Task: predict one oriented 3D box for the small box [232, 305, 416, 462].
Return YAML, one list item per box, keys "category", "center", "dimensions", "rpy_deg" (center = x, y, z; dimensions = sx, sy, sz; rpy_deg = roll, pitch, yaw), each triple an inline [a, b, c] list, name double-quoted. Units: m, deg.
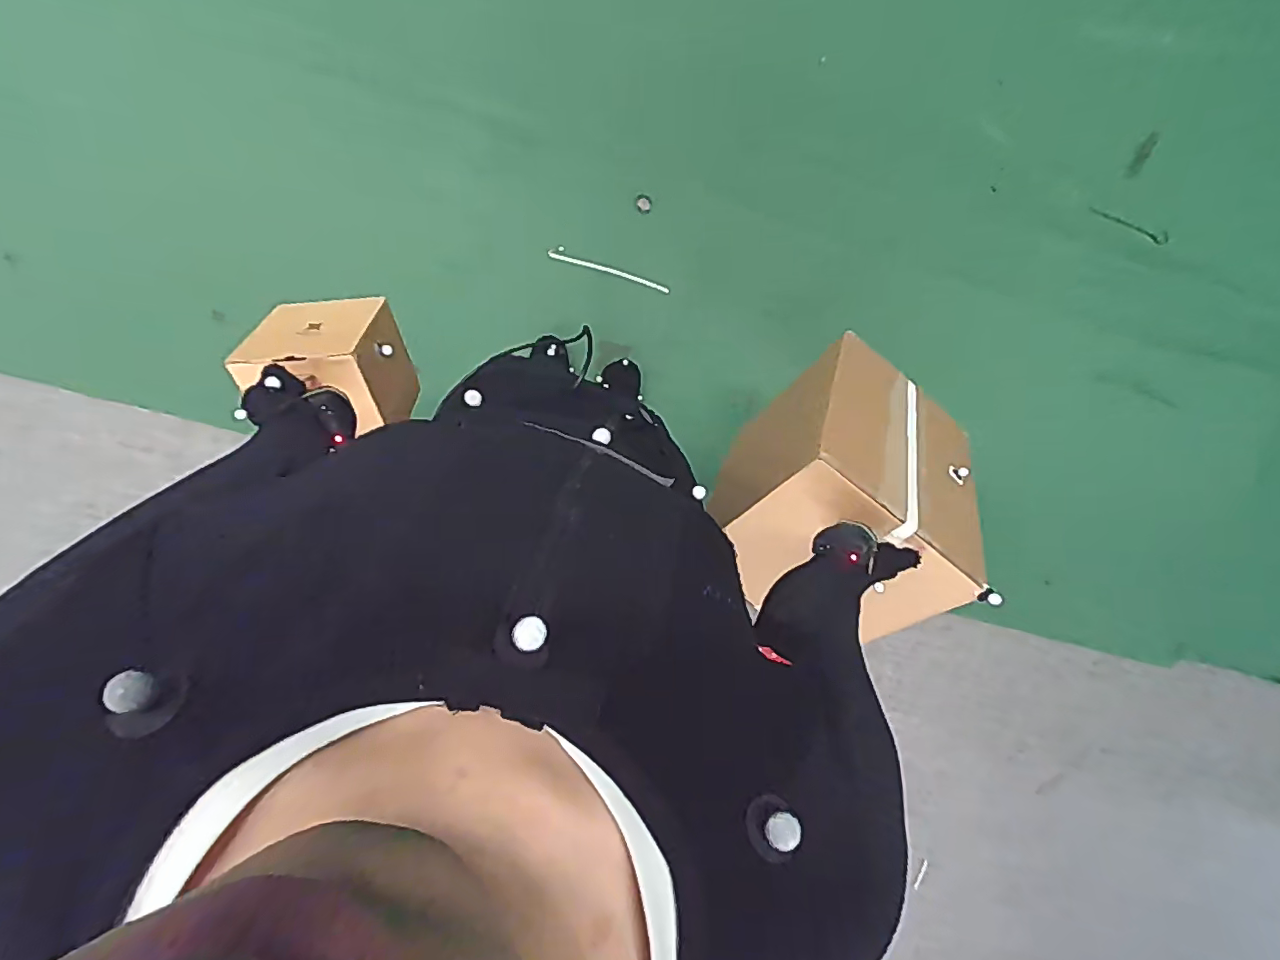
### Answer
- category: "small box"
  center: [-0.461, -0.148, 0.827]
  dimensions: [0.168, 0.179, 0.176]
  rpy_deg: [-5, 133, -2]
